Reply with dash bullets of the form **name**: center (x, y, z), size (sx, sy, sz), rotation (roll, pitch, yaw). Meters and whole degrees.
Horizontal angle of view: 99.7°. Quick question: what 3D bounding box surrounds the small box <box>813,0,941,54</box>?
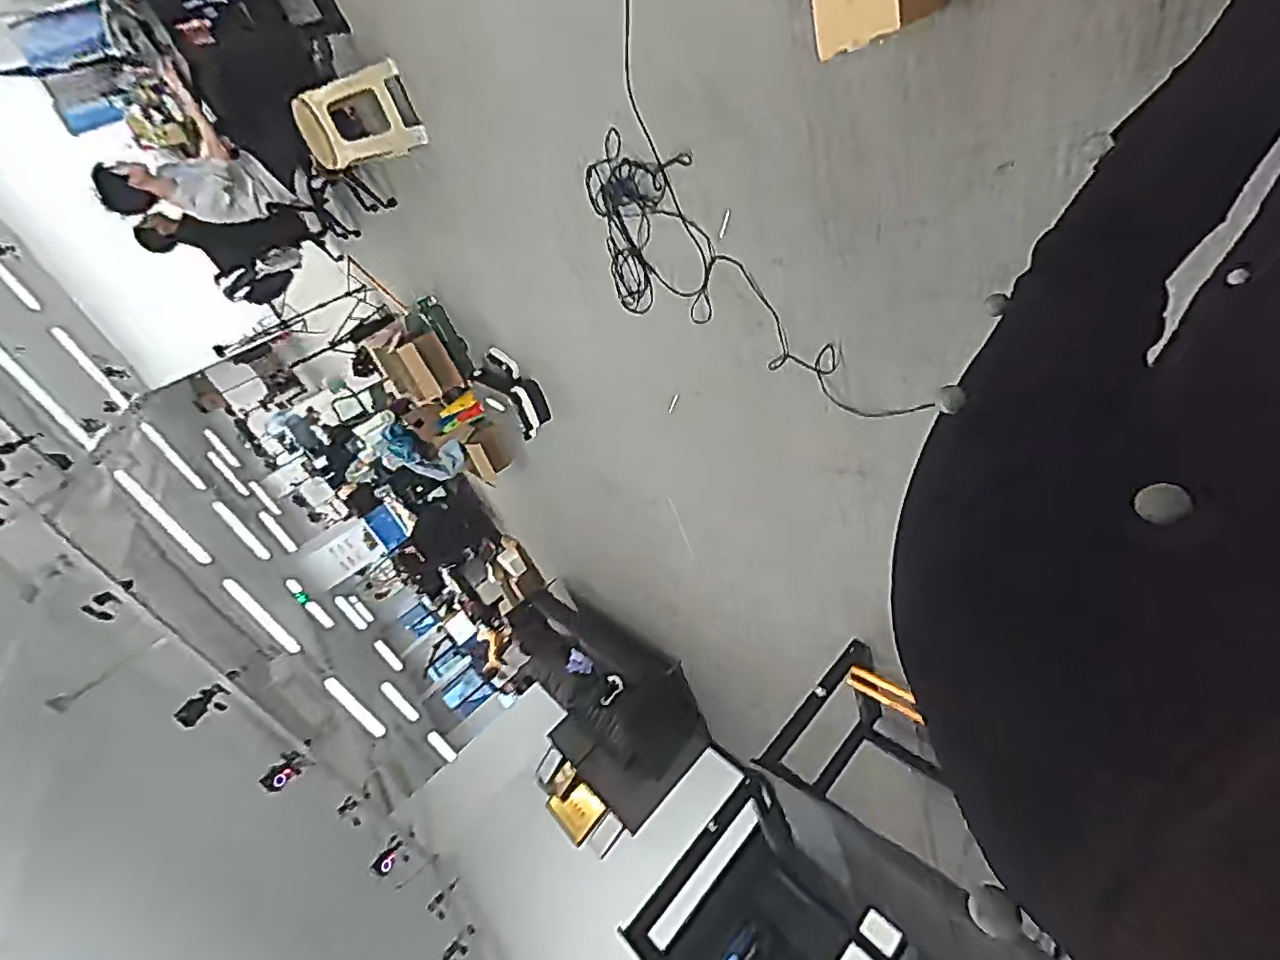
- **small box**: center (0.439, -0.939, 1.004), size (0.168, 0.176, 0.179), rotation (20, 140, 49)
